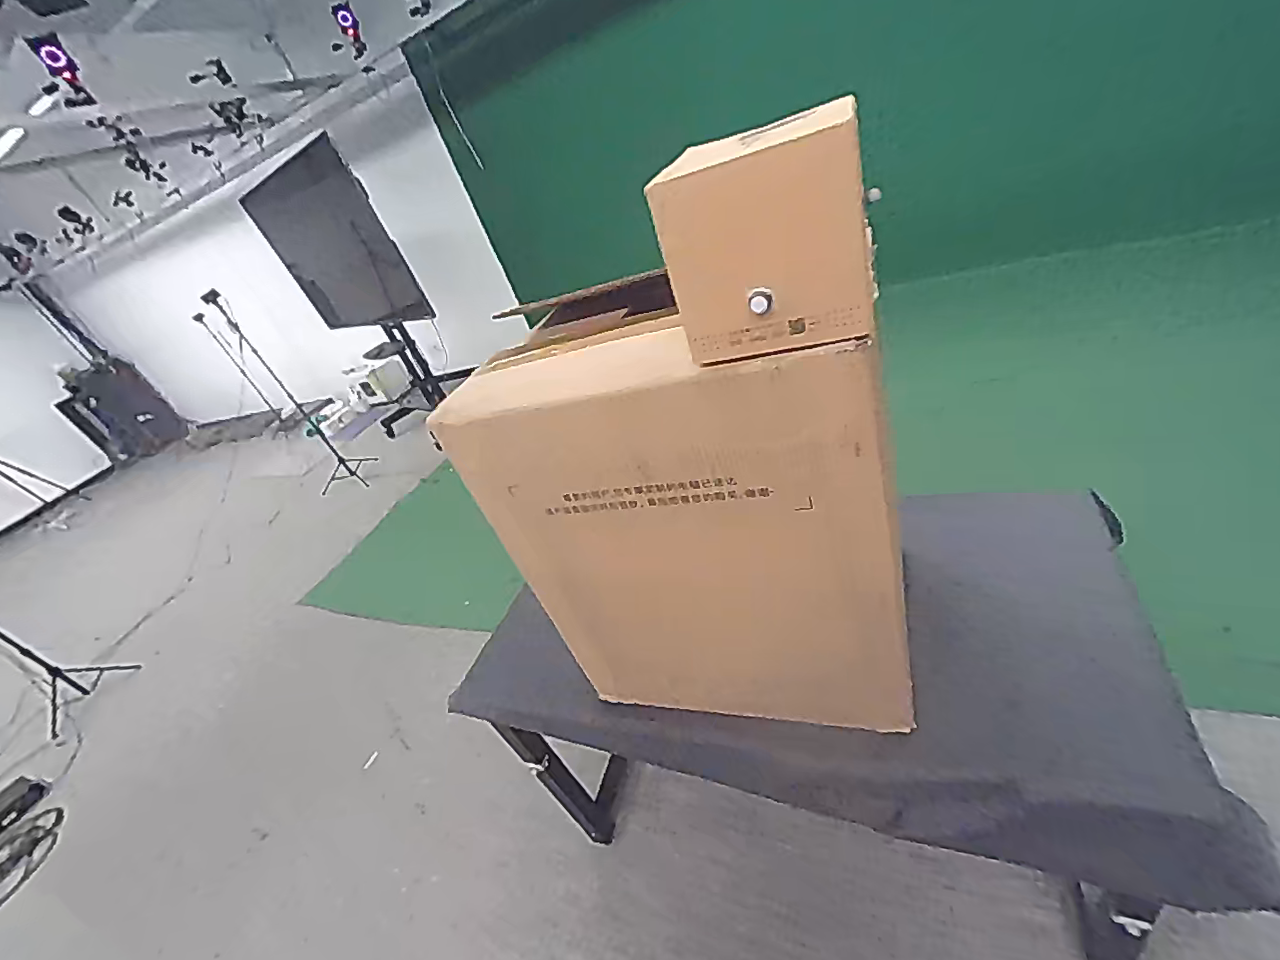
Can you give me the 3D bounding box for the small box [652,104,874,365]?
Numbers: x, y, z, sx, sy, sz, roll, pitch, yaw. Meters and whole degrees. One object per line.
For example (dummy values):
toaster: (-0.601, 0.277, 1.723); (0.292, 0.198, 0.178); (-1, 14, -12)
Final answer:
small box: (0.131, -0.232, 0.523); (0.168, 0.176, 0.179); (-4, 37, 25)
